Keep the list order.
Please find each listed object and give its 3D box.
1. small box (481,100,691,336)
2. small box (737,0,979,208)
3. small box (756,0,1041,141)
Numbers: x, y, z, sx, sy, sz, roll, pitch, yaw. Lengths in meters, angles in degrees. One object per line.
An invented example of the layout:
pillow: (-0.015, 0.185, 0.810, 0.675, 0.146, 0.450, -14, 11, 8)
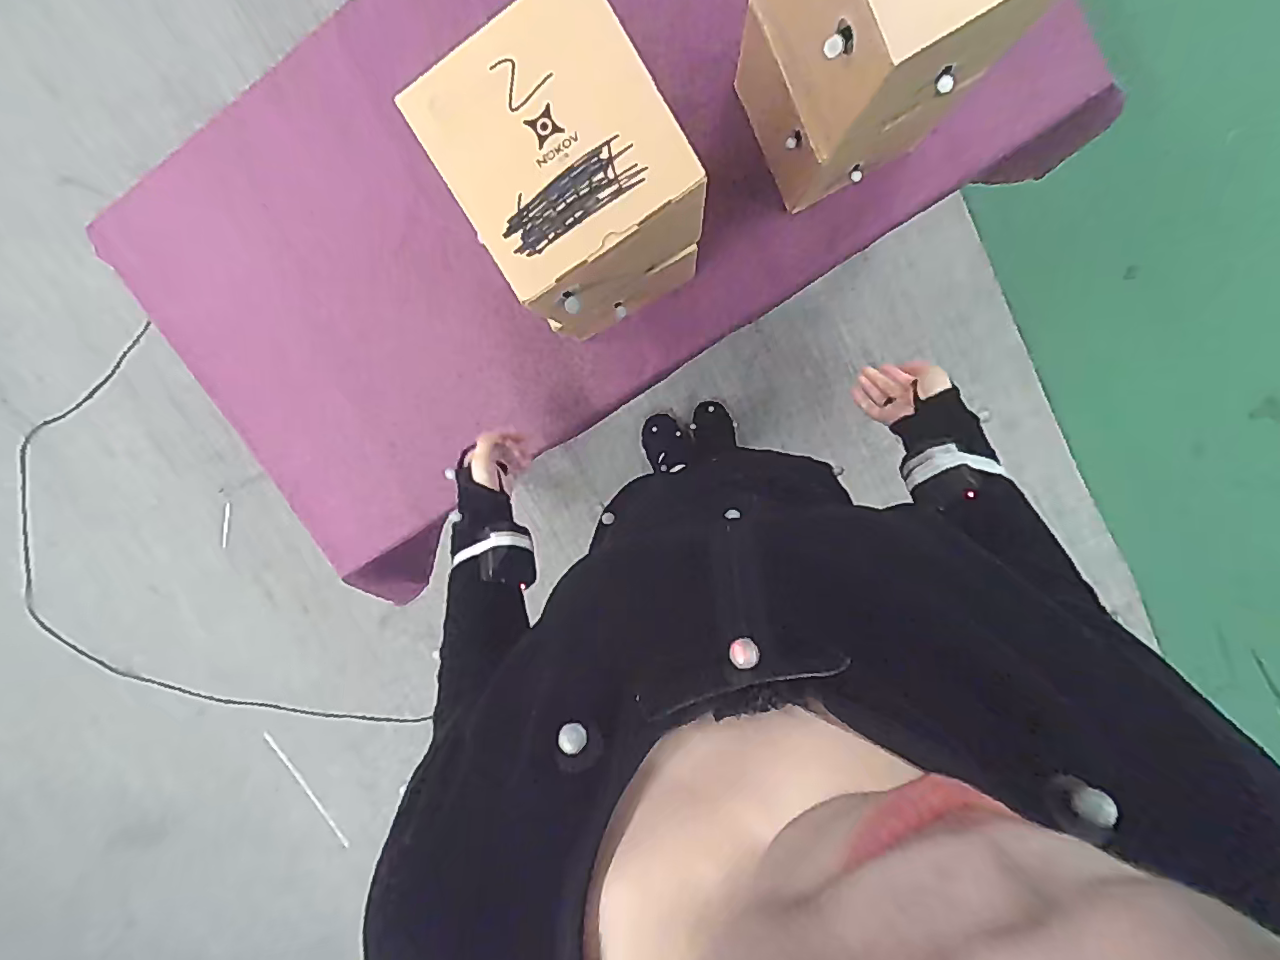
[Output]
small box: (-0.048, -0.285, 0.639, 0.179, 0.176, 0.168, -27, 97, 9)
small box: (0.219, -0.439, 0.593, 0.168, 0.176, 0.179, -26, 98, 8)
small box: (0.208, -0.411, 0.431, 0.168, 0.176, 0.179, -27, 97, 8)
